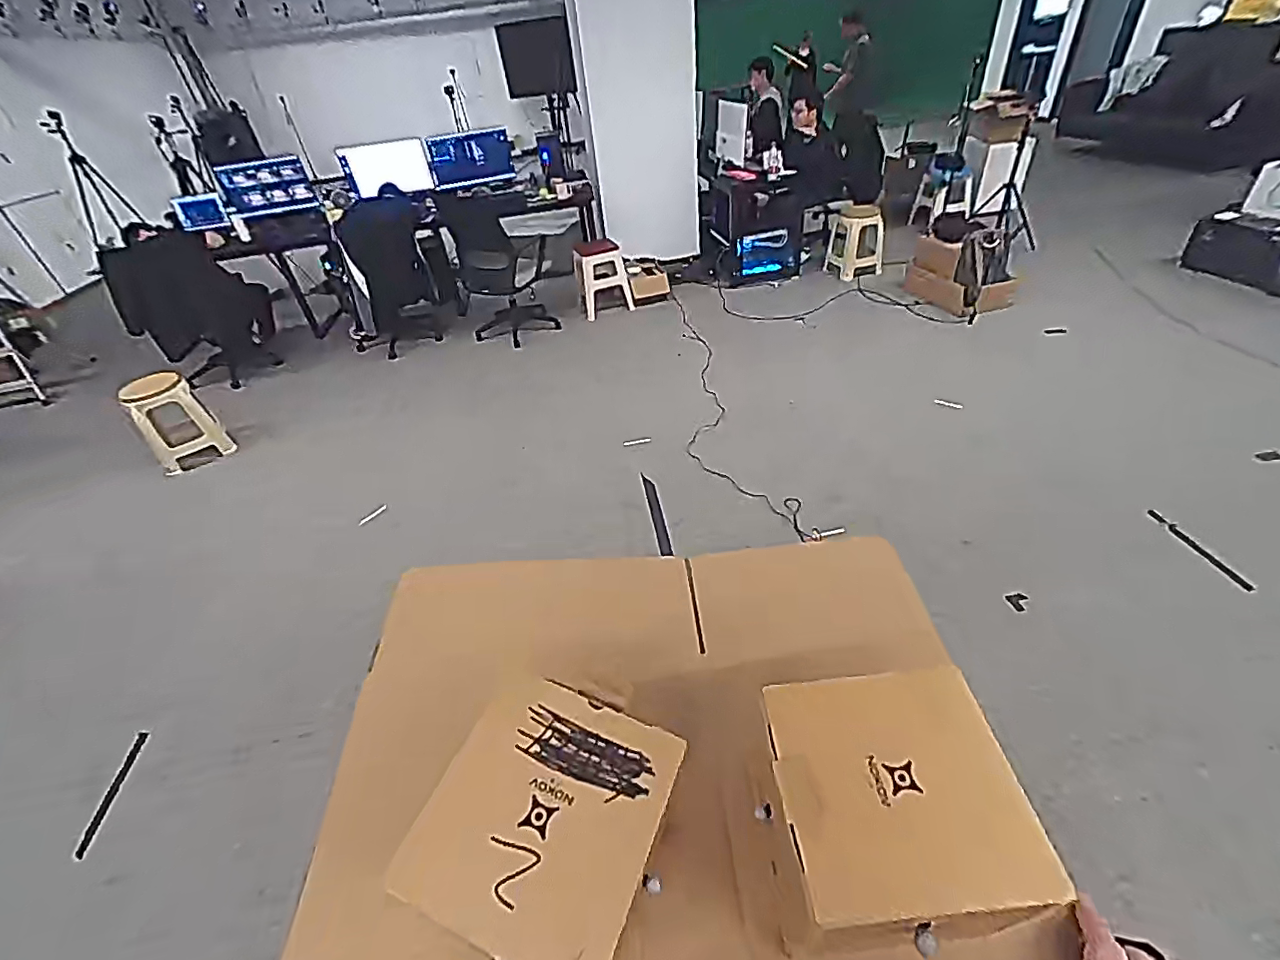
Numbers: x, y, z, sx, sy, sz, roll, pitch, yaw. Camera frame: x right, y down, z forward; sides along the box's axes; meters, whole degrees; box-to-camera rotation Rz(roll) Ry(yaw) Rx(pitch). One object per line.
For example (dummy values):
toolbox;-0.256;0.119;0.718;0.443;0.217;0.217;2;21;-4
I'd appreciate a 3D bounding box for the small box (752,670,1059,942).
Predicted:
small box;0.206;0.292;0.484;0.179;0.176;0.168;-7;44;1
